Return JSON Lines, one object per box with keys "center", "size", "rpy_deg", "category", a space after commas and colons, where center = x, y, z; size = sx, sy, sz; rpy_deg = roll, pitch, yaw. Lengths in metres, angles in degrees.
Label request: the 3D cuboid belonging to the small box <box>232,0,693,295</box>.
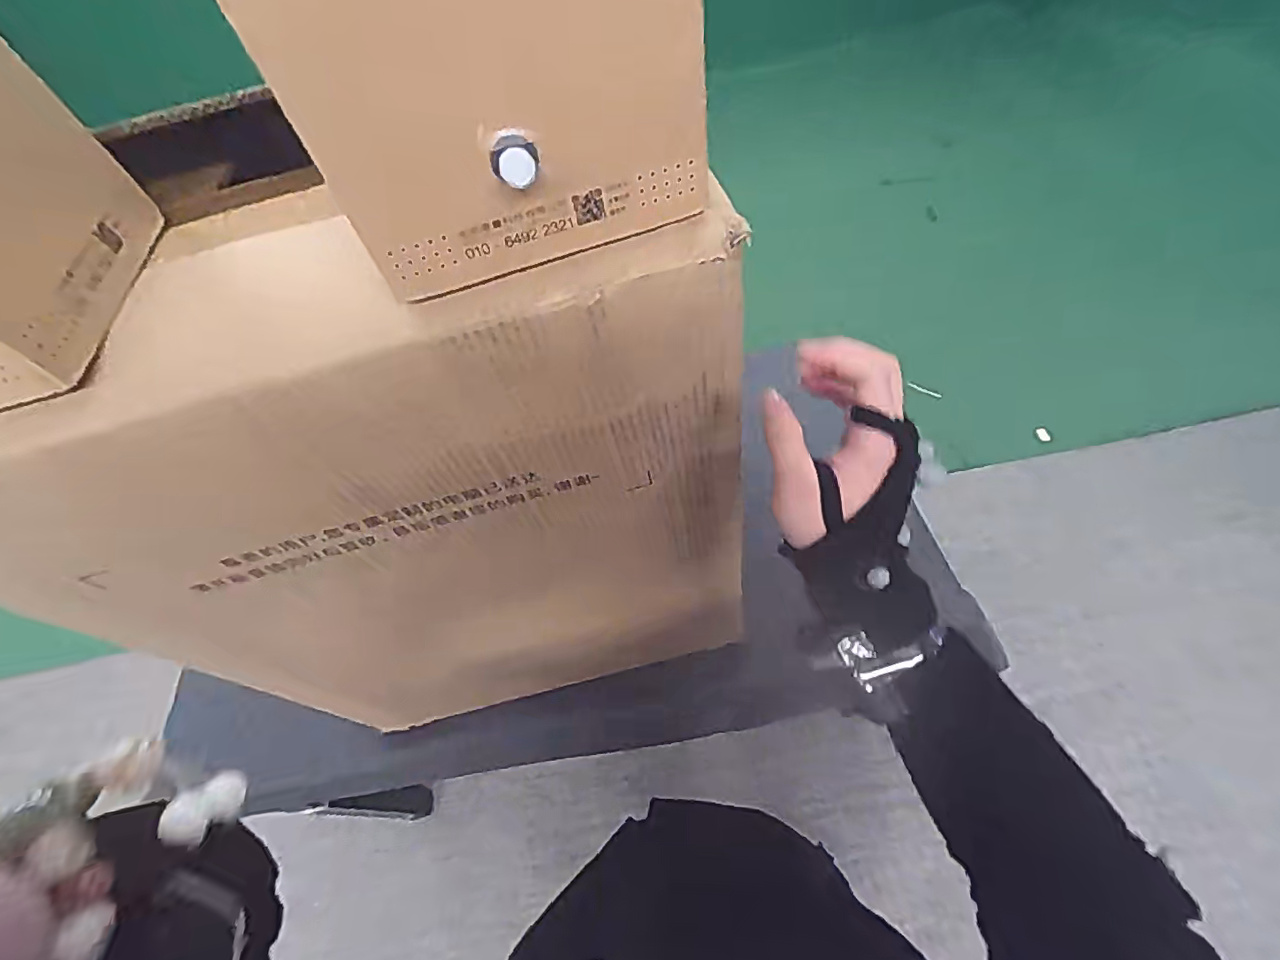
{"center": [-0.080, -0.223, 0.261], "size": [0.168, 0.176, 0.179], "rpy_deg": [-18, 56, -3], "category": "small box"}
